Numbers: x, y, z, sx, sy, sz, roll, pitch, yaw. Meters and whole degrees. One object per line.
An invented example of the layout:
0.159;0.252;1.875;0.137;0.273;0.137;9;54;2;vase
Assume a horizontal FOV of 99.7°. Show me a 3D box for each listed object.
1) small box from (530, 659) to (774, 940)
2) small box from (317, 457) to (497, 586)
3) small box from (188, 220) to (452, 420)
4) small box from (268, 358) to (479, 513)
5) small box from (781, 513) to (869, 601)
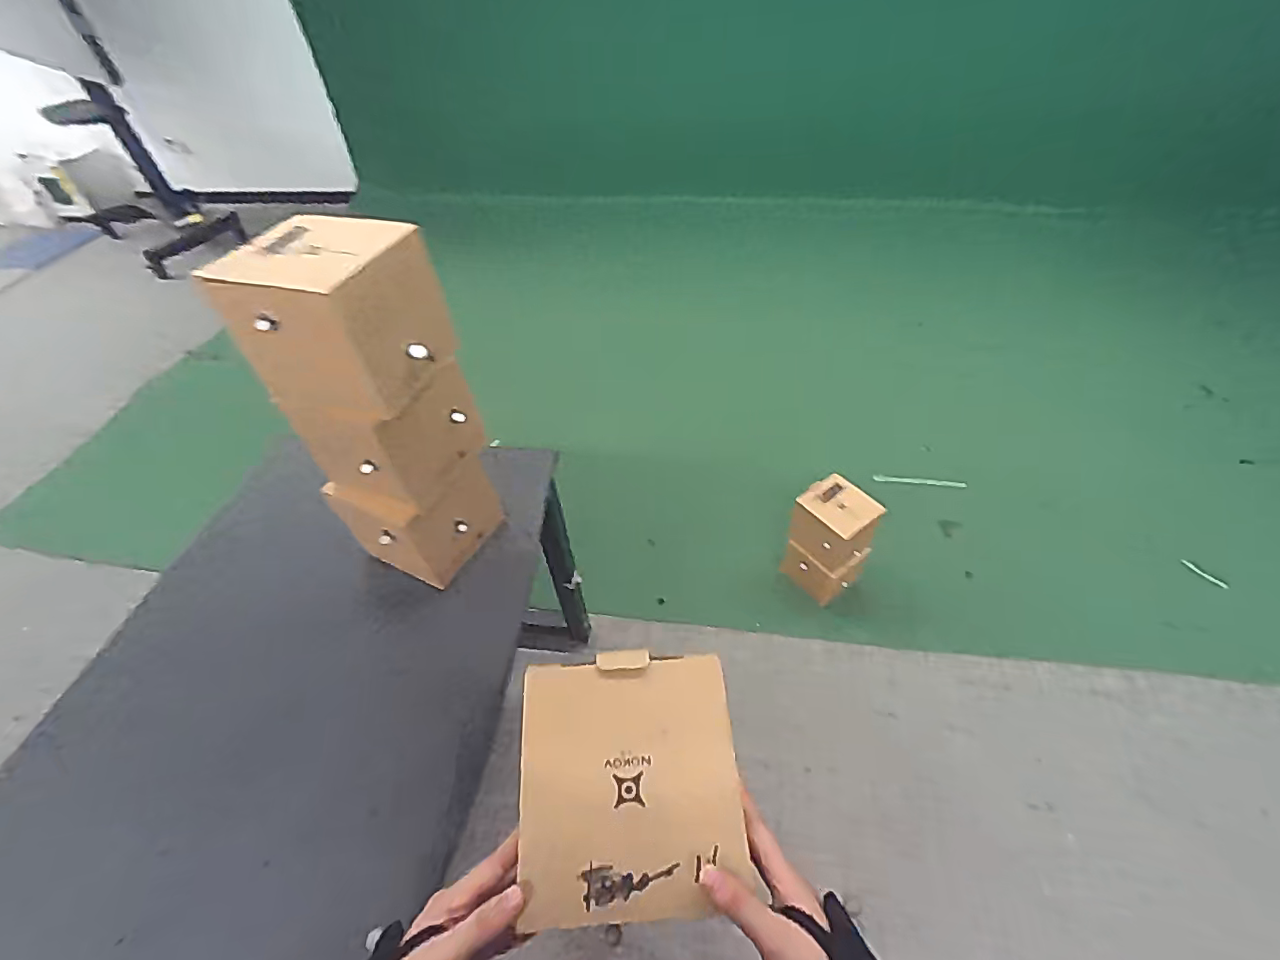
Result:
0.004;0.267;0.468;0.168;0.176;0.179;-3;58;-1;small box
-0.360;0.047;0.874;0.179;0.176;0.168;18;51;22;small box
-0.361;-0.191;0.648;0.179;0.176;0.168;10;49;13;small box
-0.358;-0.075;0.765;0.179;0.176;0.168;14;49;19;small box
0.552;0.241;1.632;0.168;0.176;0.179;-30;53;-22;small box
